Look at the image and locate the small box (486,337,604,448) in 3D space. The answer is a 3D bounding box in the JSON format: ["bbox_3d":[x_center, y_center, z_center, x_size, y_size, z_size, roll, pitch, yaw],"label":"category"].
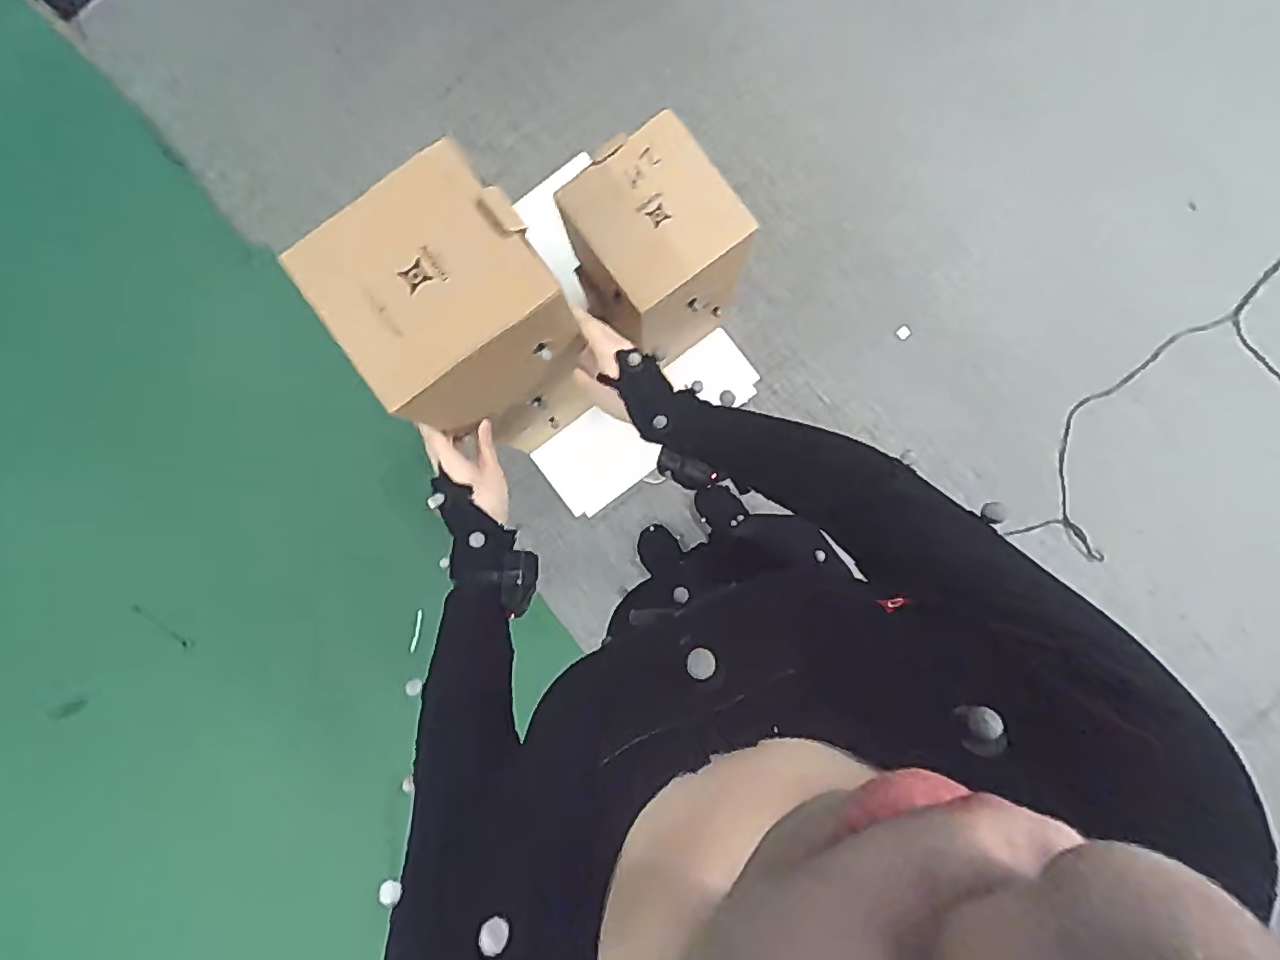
[{"bbox_3d":[-0.173,-0.166,0.851,0.179,0.176,0.168,-38,88,-1],"label":"small box"}]

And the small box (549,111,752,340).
[{"bbox_3d":[0.015,-0.298,0.684,0.168,0.176,0.179,-36,87,1],"label":"small box"}]

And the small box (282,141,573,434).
[{"bbox_3d":[-0.180,-0.164,0.523,0.179,0.176,0.168,-37,86,1],"label":"small box"}]
